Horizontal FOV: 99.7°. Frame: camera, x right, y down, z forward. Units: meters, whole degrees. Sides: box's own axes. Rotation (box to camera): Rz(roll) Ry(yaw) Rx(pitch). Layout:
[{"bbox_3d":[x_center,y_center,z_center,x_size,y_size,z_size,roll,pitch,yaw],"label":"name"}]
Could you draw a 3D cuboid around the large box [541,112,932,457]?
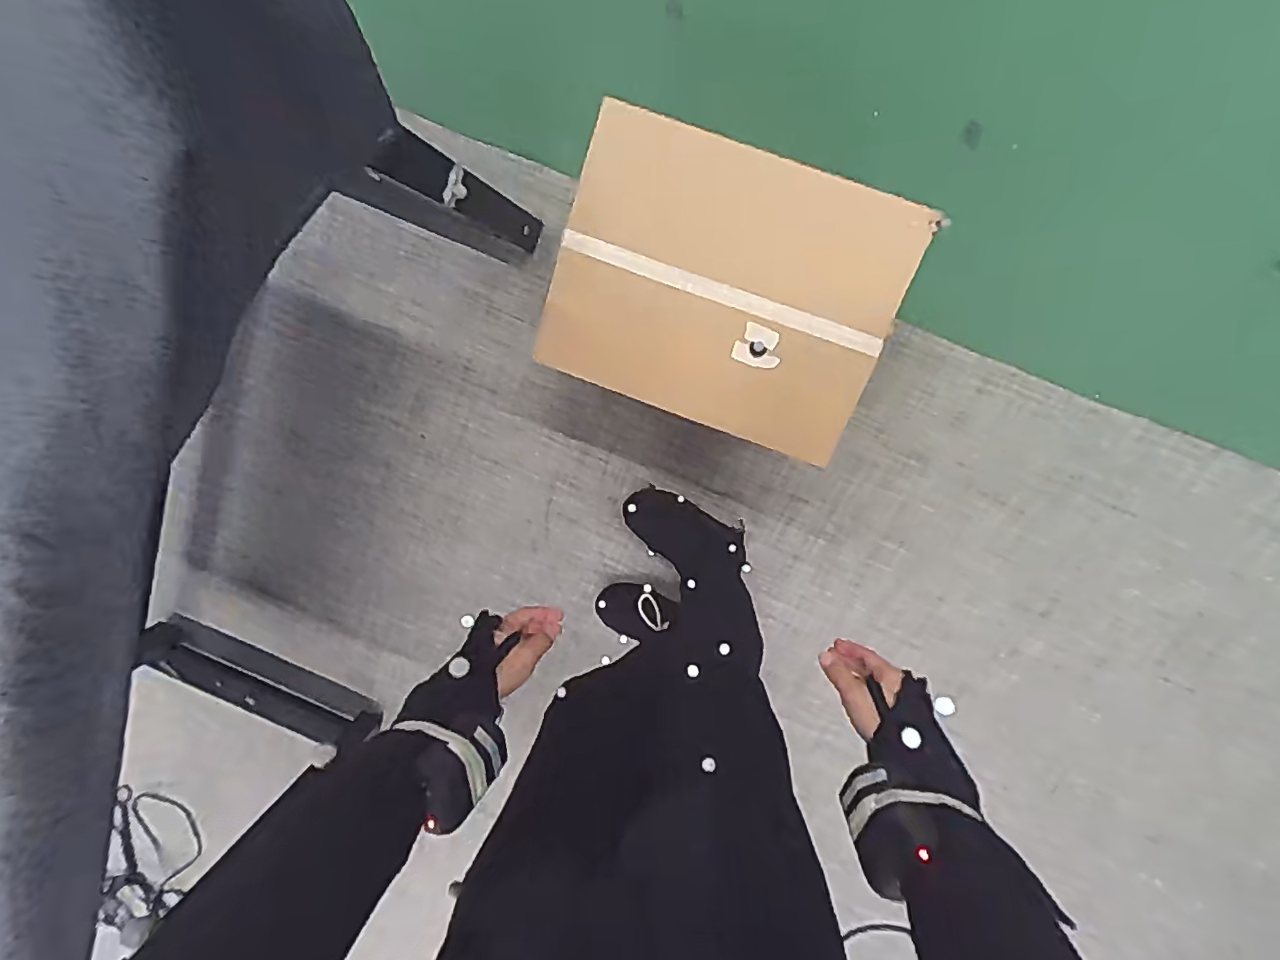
[{"bbox_3d":[0.118,-0.262,0.803,0.408,0.320,0.320,20,105,2],"label":"large box"}]
